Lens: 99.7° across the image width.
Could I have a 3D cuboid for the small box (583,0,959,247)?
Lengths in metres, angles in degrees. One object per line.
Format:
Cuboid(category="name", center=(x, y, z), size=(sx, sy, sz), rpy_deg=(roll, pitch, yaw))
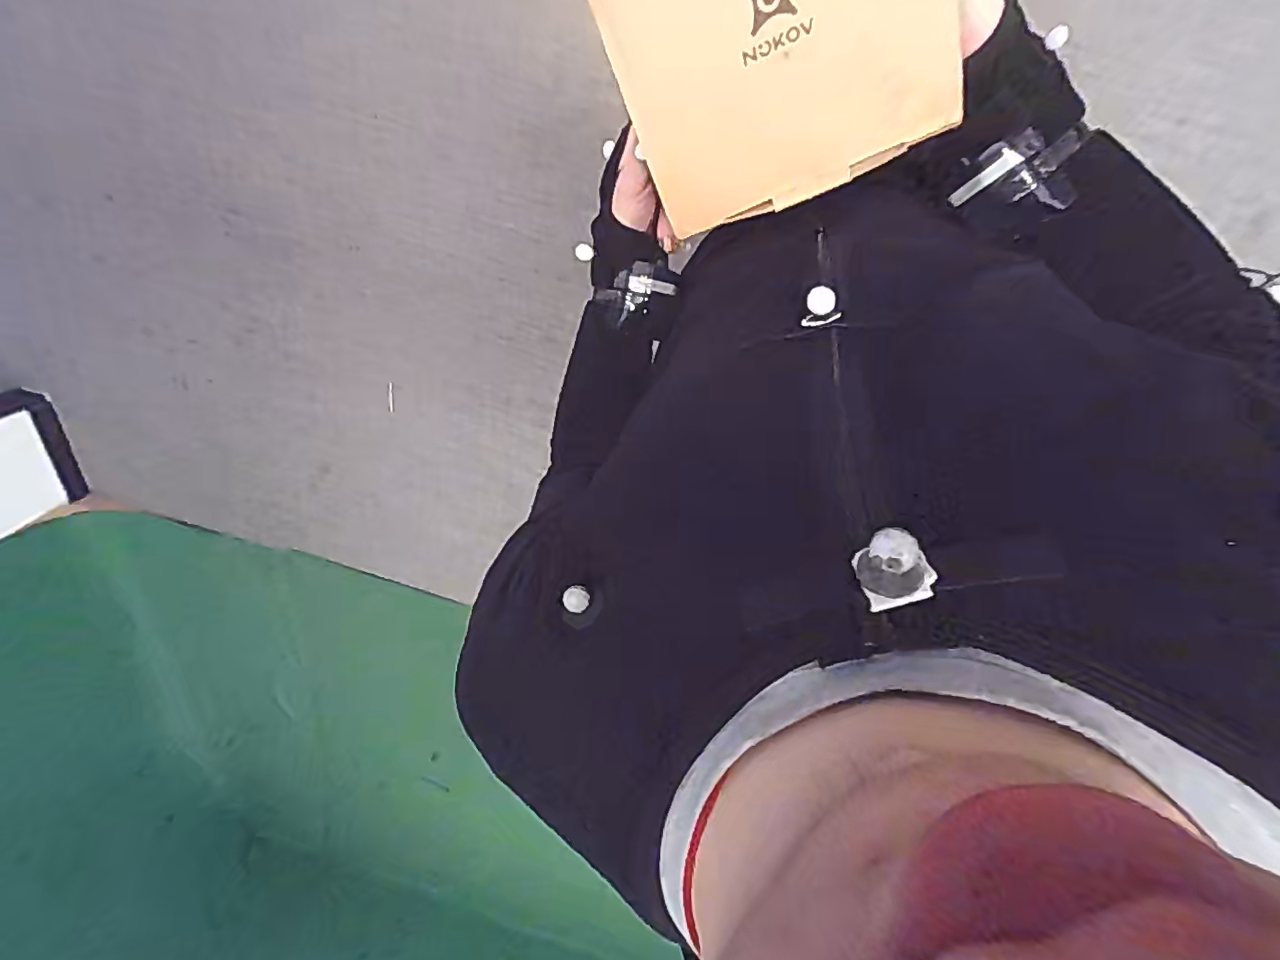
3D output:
Cuboid(category="small box", center=(0.069, -0.279, 0.326), size=(0.168, 0.176, 0.179), rpy_deg=(-17, 126, 18))
